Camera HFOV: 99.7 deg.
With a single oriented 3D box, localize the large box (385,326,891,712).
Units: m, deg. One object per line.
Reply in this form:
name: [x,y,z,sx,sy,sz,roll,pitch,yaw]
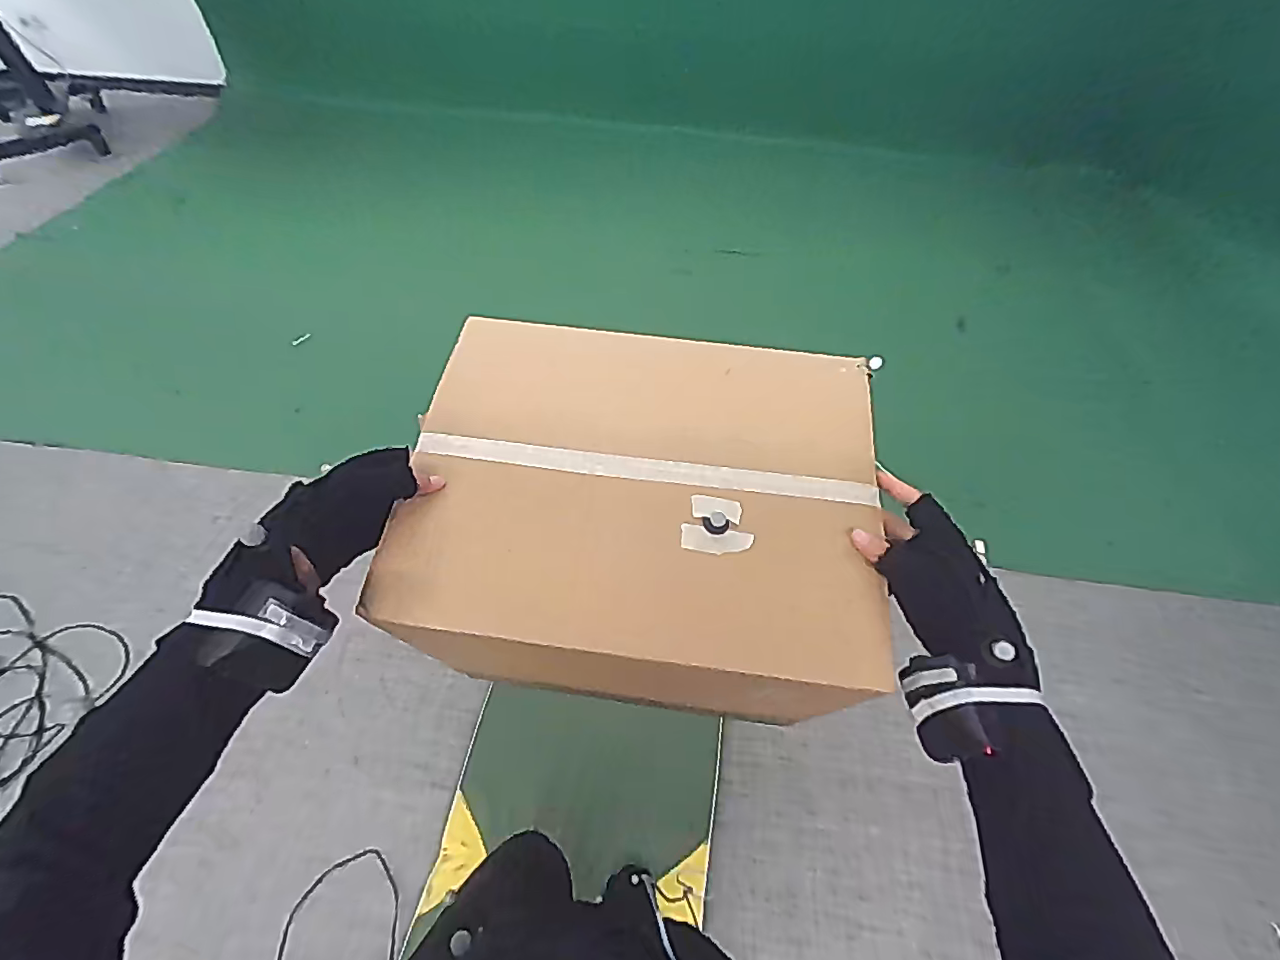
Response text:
large box: [0.007,0.063,0.617,0.408,0.320,0.320,7,62,2]
